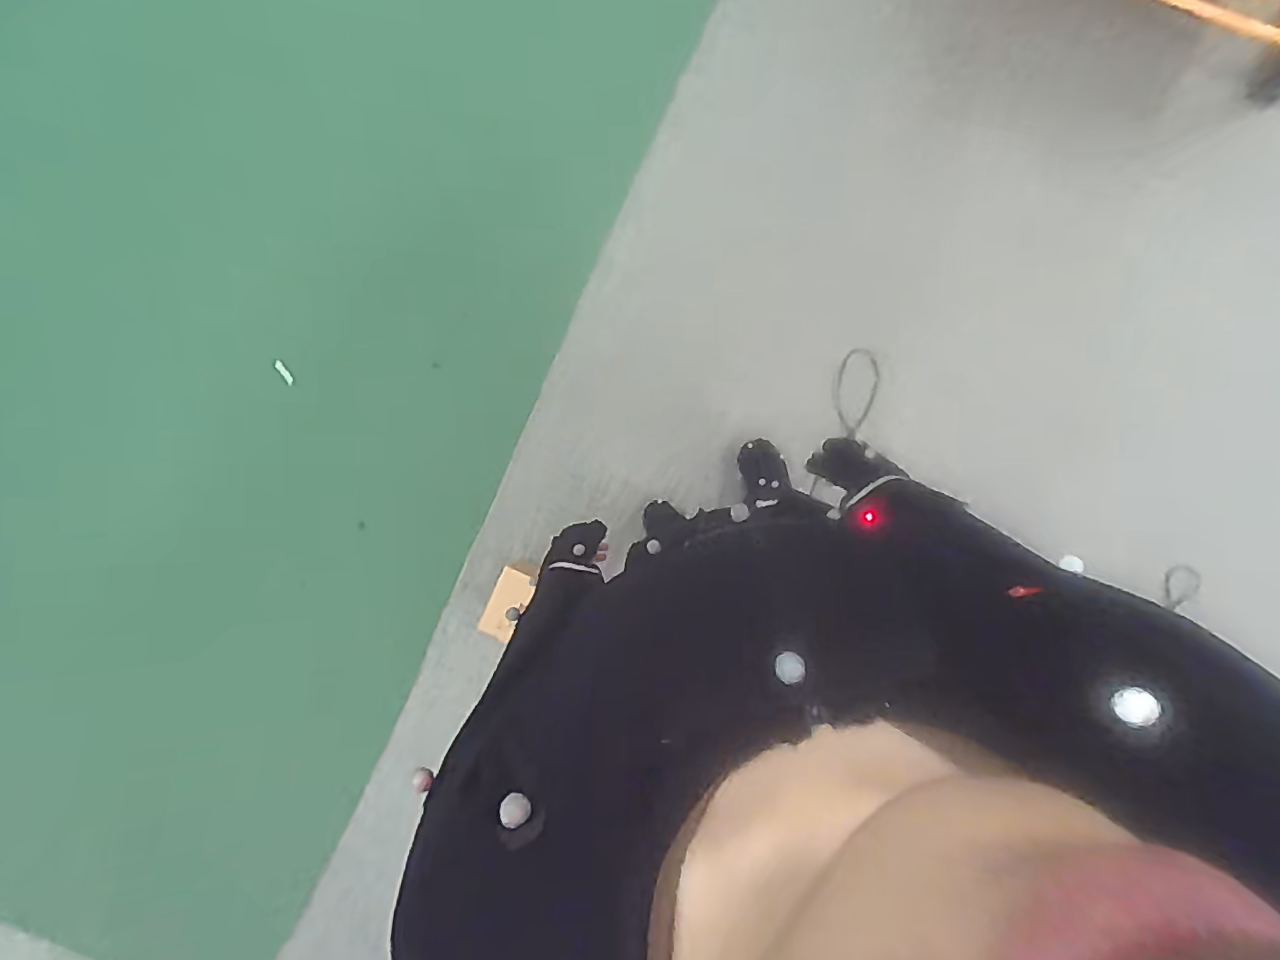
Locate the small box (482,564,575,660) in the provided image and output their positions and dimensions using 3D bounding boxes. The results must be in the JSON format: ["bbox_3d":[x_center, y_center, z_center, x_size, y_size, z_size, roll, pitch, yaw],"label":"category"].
[{"bbox_3d":[-0.280,0.331,1.405,0.168,0.176,0.179,24,89,3],"label":"small box"}]
